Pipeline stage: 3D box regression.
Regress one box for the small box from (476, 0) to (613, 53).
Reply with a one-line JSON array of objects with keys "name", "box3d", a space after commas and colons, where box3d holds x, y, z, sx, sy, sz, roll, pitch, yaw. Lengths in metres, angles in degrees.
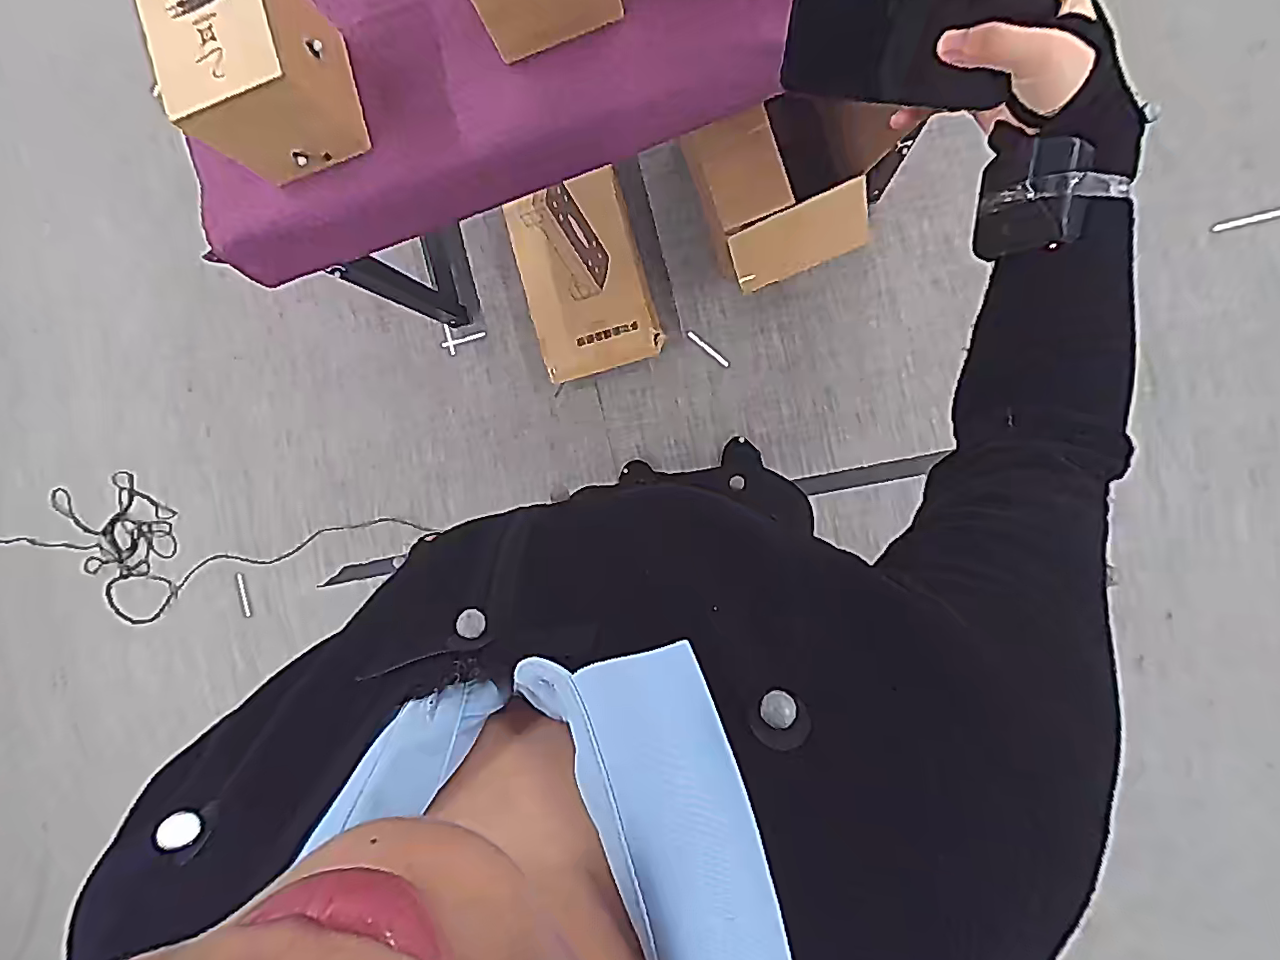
[{"name": "small box", "box3d": [-0.133, -0.674, 0.648, 0.179, 0.176, 0.168, -15, 89, 9]}]
